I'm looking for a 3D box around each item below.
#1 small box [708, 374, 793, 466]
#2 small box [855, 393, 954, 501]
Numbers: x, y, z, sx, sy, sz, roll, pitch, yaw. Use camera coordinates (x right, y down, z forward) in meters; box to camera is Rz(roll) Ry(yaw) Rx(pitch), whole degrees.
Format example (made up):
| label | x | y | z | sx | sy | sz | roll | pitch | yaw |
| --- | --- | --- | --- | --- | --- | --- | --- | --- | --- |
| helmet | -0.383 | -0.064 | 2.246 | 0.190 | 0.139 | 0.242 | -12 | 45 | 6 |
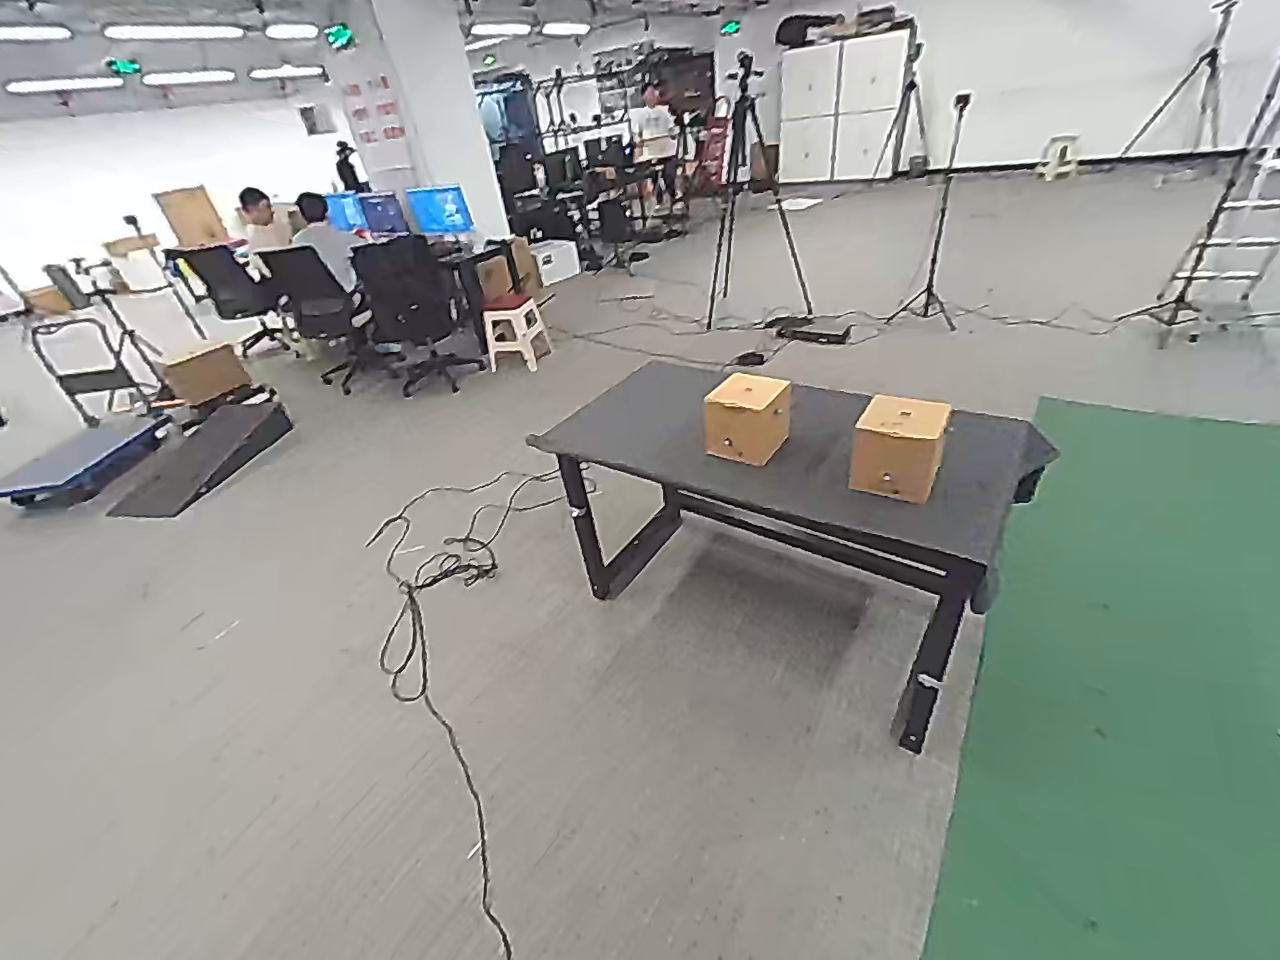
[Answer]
| label | x | y | z | sx | sy | sz | roll | pitch | yaw |
| --- | --- | --- | --- | --- | --- | --- | --- | --- | --- |
| small box | 0.296 | -0.164 | 1.447 | 0.168 | 0.176 | 0.179 | 17 | 42 | 32 |
| small box | 0.602 | -0.079 | 1.242 | 0.168 | 0.176 | 0.179 | 14 | 41 | 32 |
